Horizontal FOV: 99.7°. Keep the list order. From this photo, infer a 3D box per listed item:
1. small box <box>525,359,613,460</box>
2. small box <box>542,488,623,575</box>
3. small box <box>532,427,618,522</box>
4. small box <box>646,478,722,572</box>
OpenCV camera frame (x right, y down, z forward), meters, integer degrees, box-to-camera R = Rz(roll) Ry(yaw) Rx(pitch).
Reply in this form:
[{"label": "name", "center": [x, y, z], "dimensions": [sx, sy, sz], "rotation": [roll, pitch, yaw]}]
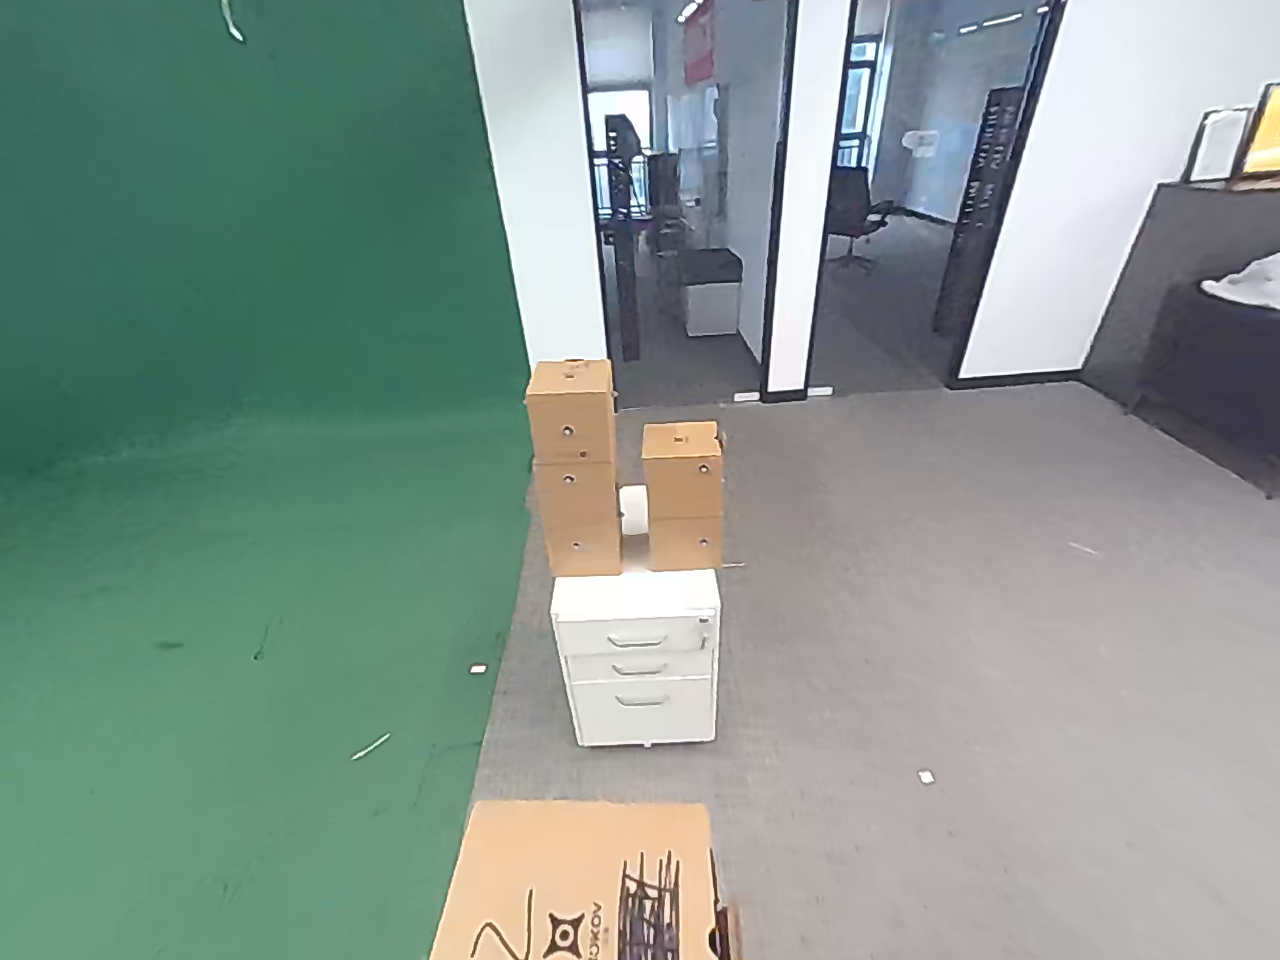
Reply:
[{"label": "small box", "center": [-0.146, -0.153, 1.187], "dimensions": [0.168, 0.176, 0.179], "rotation": [-1, 34, 0]}, {"label": "small box", "center": [-0.138, 0.126, 1.362], "dimensions": [0.179, 0.176, 0.168], "rotation": [-2, 34, 1]}, {"label": "small box", "center": [-0.146, -0.013, 1.274], "dimensions": [0.179, 0.176, 0.168], "rotation": [-1, 34, 0]}, {"label": "small box", "center": [0.107, 0.115, 1.361], "dimensions": [0.179, 0.176, 0.168], "rotation": [-5, 32, 2]}]
